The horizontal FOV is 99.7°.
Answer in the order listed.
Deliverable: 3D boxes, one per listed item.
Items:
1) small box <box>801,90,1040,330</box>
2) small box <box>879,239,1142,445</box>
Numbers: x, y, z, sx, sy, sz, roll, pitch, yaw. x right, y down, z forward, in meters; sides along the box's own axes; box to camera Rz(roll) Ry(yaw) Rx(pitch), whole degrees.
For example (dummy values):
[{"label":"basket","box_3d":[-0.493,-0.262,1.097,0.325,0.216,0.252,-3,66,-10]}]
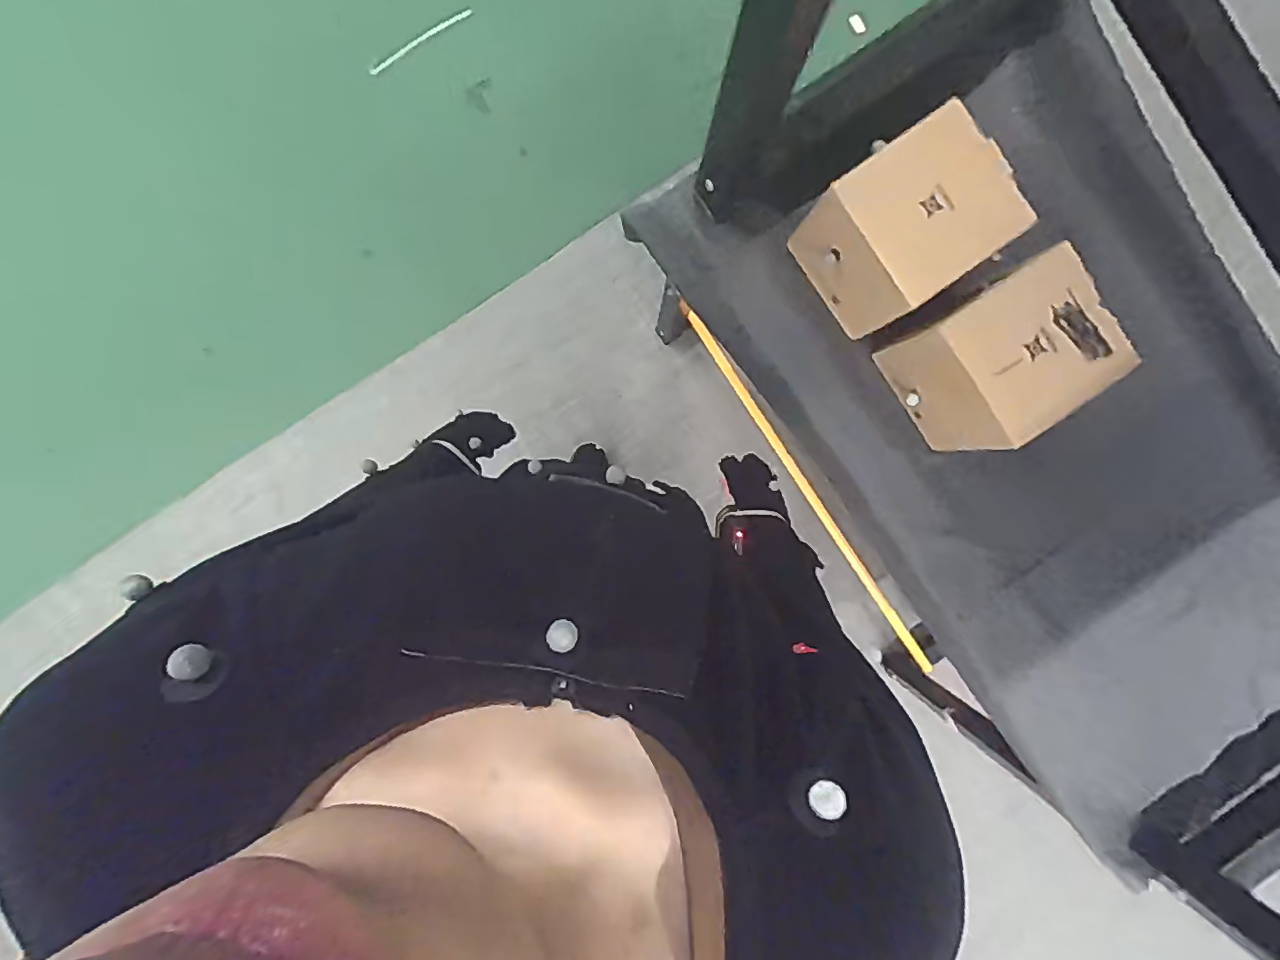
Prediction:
[{"label":"small box","box_3d":[0.322,-0.312,0.668,0.179,0.176,0.168,-35,93,-1]},{"label":"small box","box_3d":[0.444,-0.158,0.678,0.179,0.176,0.168,-34,92,0]}]
